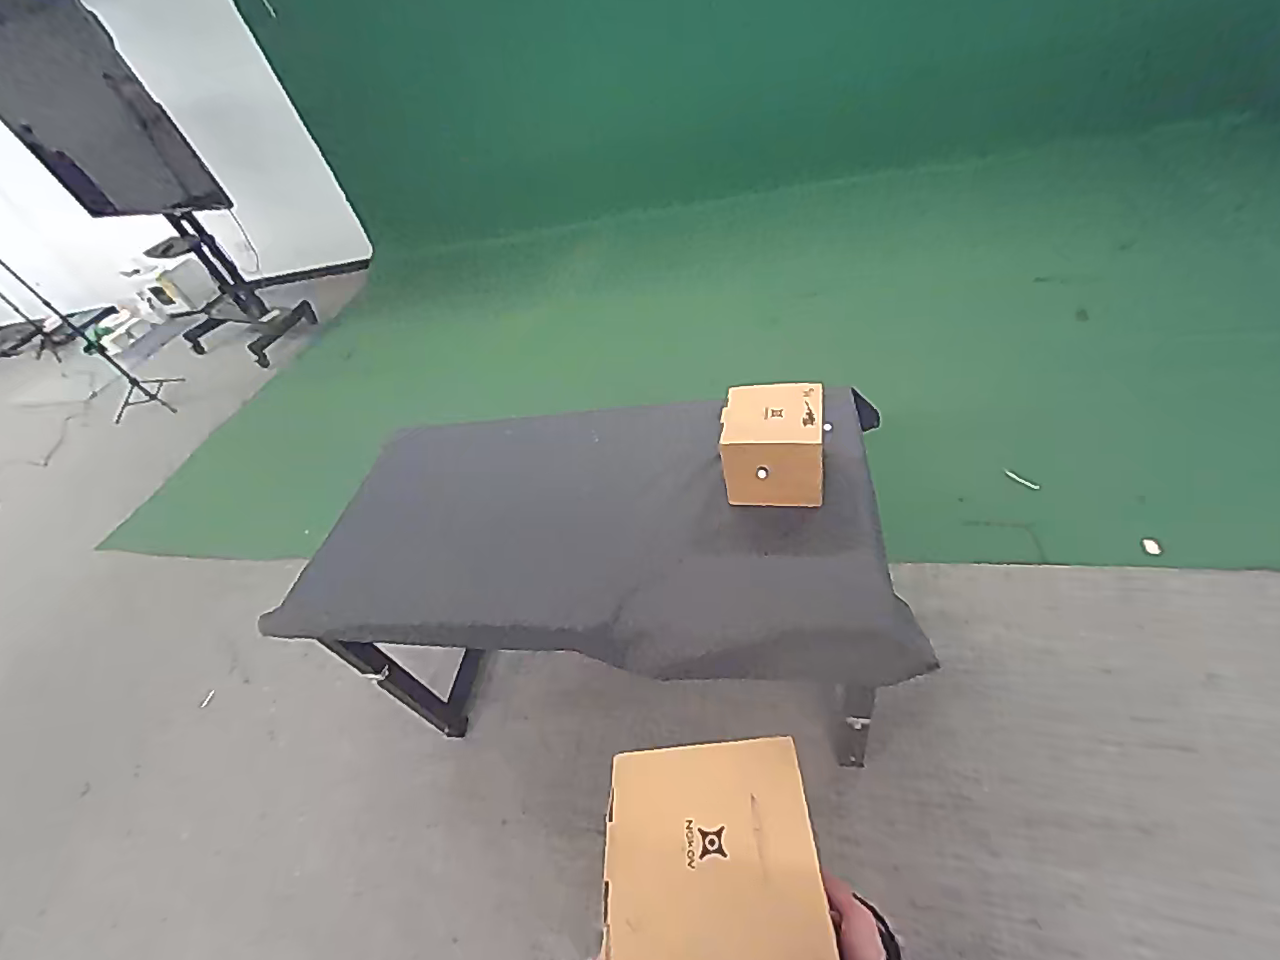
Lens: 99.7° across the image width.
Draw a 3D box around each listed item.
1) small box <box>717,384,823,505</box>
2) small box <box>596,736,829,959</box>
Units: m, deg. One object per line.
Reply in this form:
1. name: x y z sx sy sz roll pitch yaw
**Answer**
1. small box: 0.256 -0.065 1.038 0.179 0.176 0.168 0 48 19
2. small box: 0.070 0.363 0.502 0.179 0.176 0.168 -9 39 8
